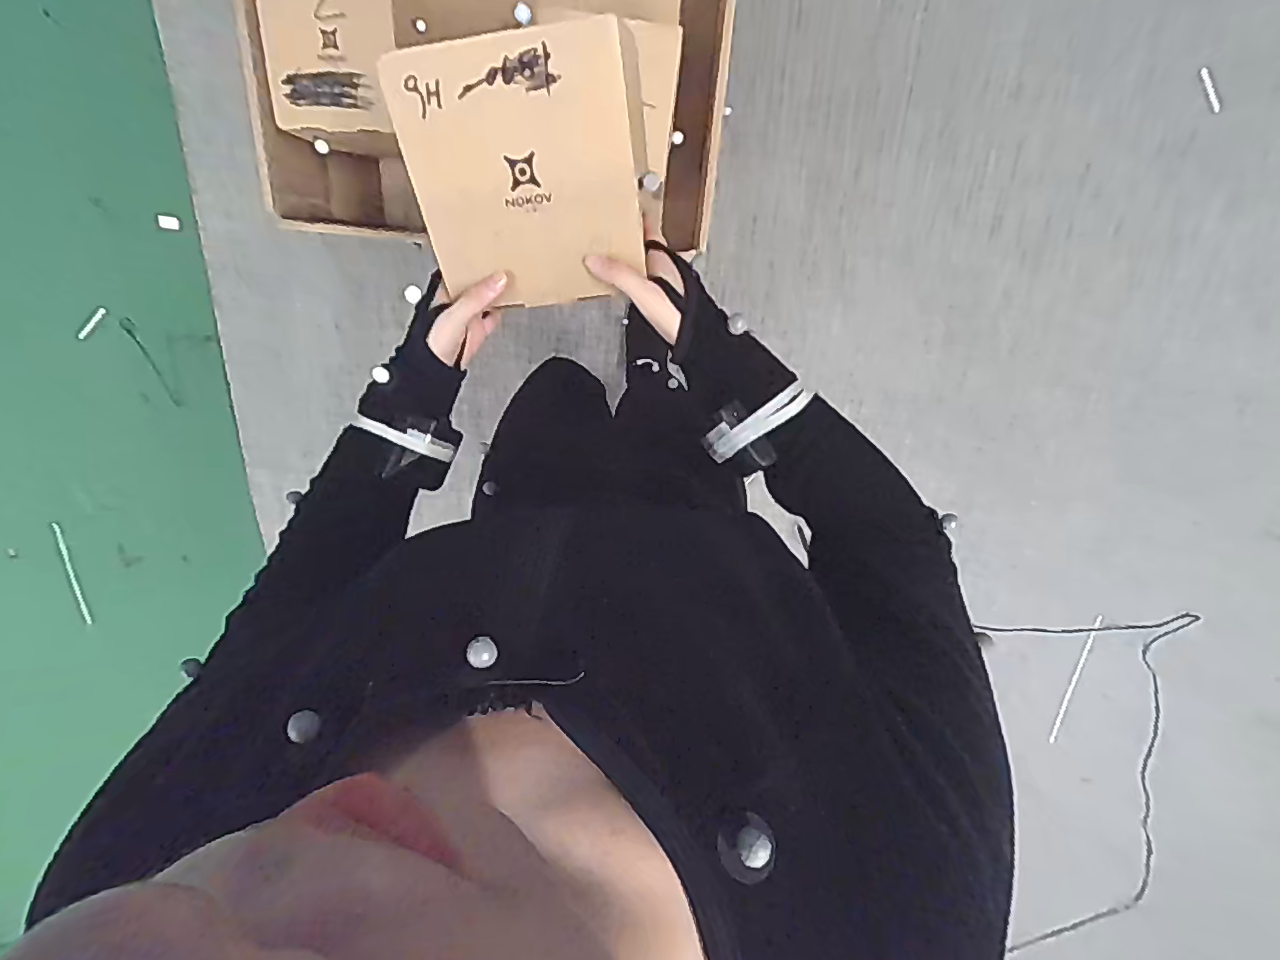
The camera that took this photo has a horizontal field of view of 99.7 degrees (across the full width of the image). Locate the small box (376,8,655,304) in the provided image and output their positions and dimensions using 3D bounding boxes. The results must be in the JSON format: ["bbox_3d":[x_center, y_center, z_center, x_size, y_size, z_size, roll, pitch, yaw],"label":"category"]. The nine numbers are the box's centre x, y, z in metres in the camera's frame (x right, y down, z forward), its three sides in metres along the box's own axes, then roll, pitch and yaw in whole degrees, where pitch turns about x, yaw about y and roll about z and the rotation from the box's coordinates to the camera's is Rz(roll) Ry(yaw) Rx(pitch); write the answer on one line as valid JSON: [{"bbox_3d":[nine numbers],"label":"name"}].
[{"bbox_3d":[-0.079,-0.269,0.460,0.168,0.176,0.179,-4,125,7],"label":"small box"}]
